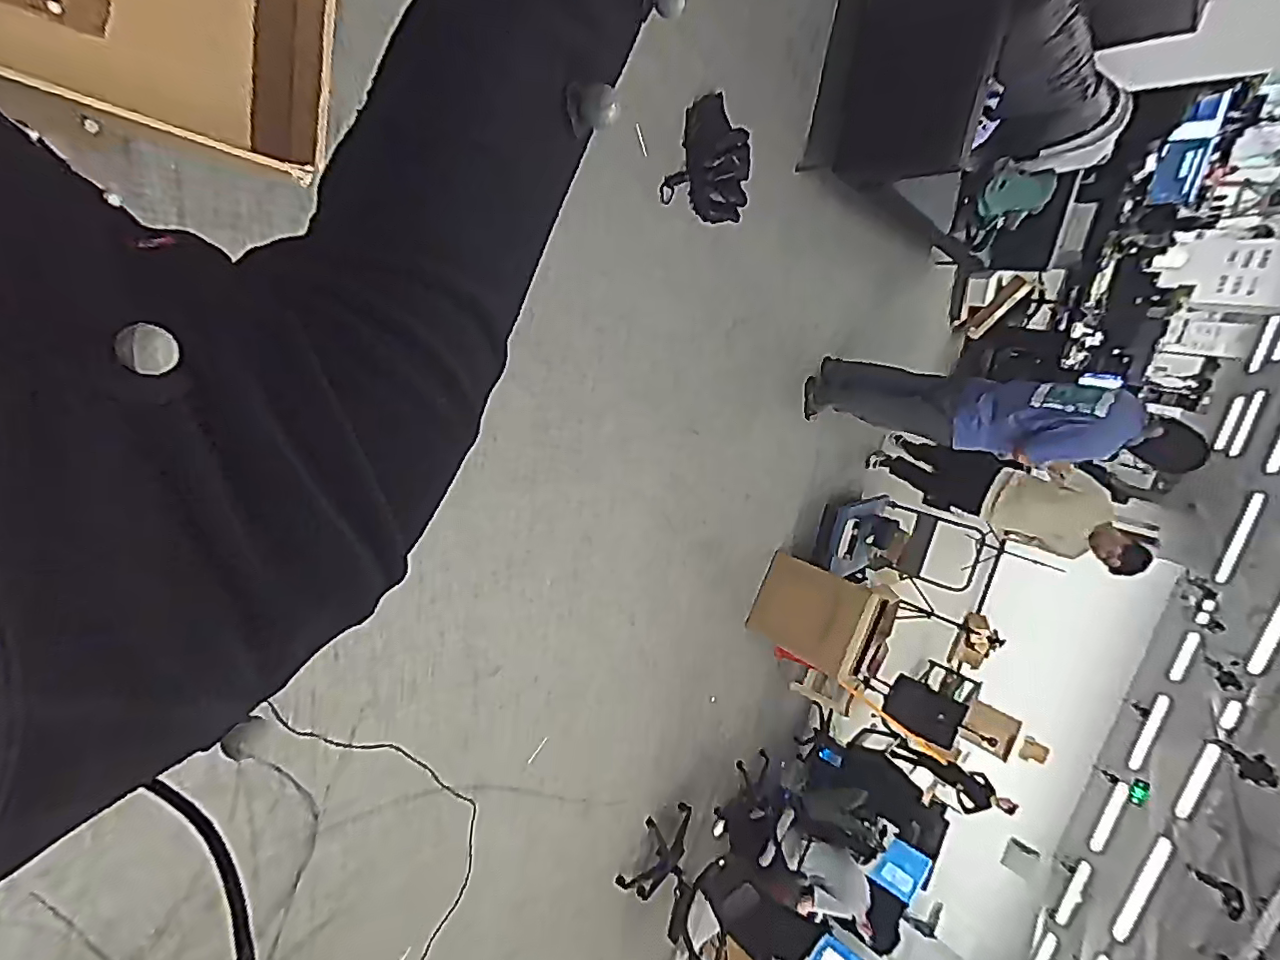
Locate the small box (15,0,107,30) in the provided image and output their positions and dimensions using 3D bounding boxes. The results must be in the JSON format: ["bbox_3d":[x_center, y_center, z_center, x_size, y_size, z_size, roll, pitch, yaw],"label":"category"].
[{"bbox_3d":[-0.662,-0.611,0.550,0.168,0.176,0.179,-6,109,-48],"label":"small box"}]
